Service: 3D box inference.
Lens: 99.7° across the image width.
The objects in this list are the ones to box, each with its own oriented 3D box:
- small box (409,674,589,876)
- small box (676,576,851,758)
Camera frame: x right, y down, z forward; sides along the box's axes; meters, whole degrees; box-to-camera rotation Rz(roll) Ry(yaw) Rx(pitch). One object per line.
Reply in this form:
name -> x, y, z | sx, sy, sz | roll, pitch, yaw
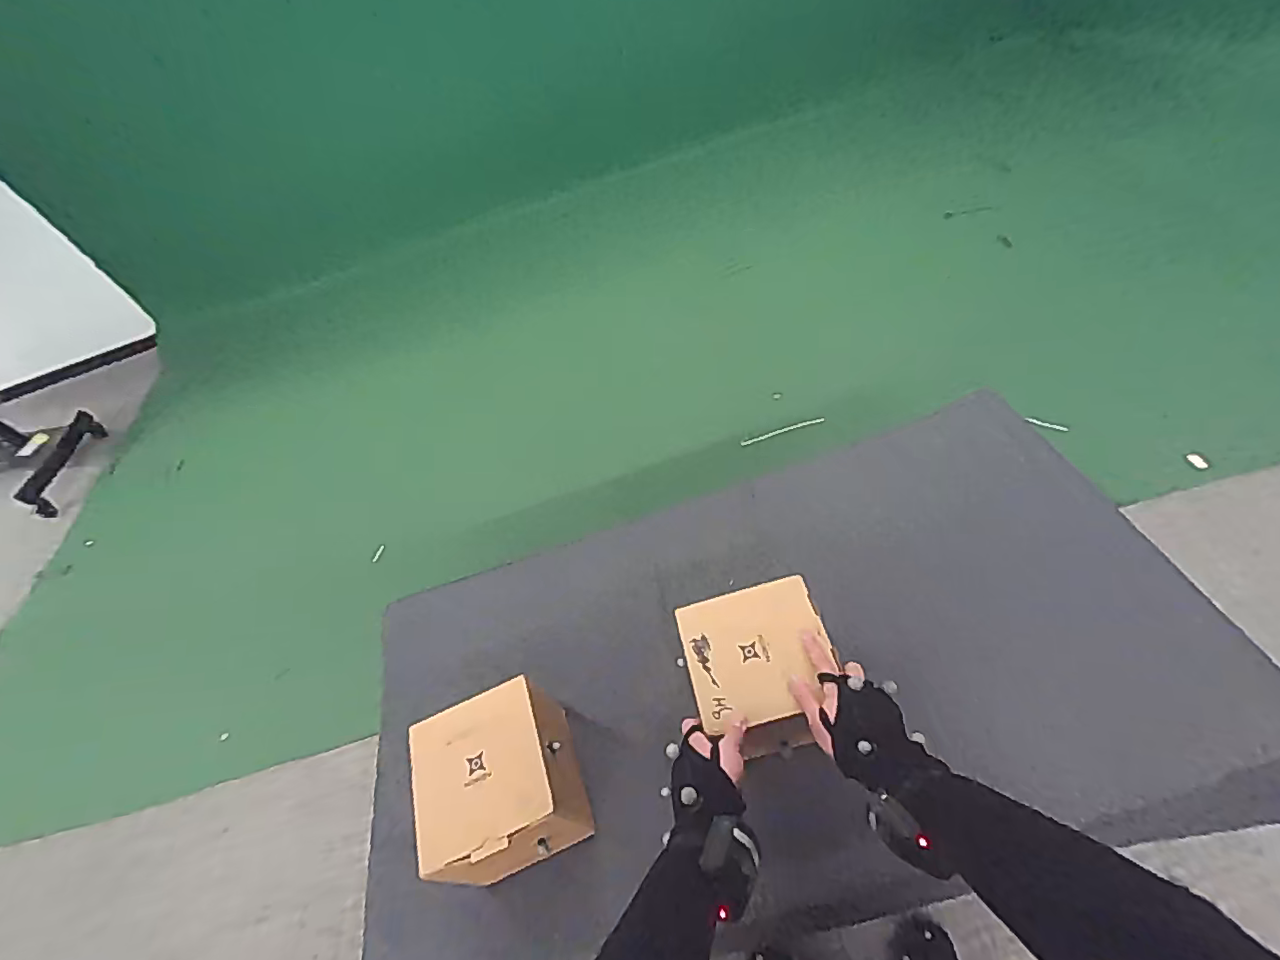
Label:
small box -> -0.183, 0.397, 0.721 | 0.168, 0.176, 0.179 | -24, 48, -4
small box -> 0.159, 0.255, 0.727 | 0.179, 0.176, 0.168 | -16, 51, 3
